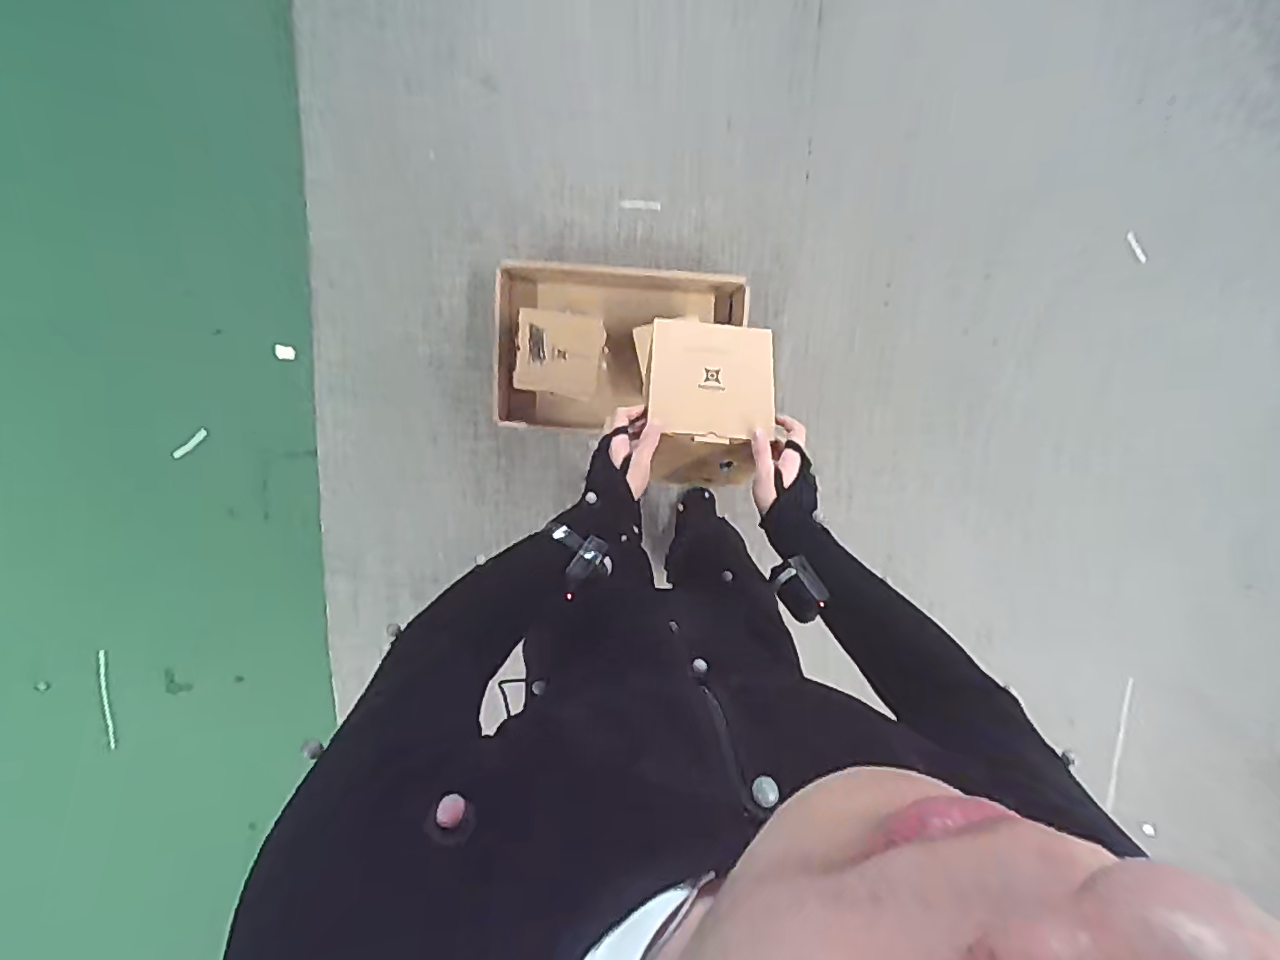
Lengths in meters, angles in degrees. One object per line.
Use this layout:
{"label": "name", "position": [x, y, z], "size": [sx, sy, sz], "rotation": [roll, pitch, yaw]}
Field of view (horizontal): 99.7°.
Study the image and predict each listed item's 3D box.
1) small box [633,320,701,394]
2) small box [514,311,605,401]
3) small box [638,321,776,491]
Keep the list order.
{"label": "small box", "position": [0.079, -0.297, 1.383], "size": [0.168, 0.176, 0.179], "rotation": [-12, 99, -1]}
{"label": "small box", "position": [-0.174, -0.269, 1.210], "size": [0.179, 0.176, 0.168], "rotation": [7, 97, -5]}
{"label": "small box", "position": [0.089, -0.095, 0.767], "size": [0.168, 0.176, 0.179], "rotation": [5, 67, -3]}
